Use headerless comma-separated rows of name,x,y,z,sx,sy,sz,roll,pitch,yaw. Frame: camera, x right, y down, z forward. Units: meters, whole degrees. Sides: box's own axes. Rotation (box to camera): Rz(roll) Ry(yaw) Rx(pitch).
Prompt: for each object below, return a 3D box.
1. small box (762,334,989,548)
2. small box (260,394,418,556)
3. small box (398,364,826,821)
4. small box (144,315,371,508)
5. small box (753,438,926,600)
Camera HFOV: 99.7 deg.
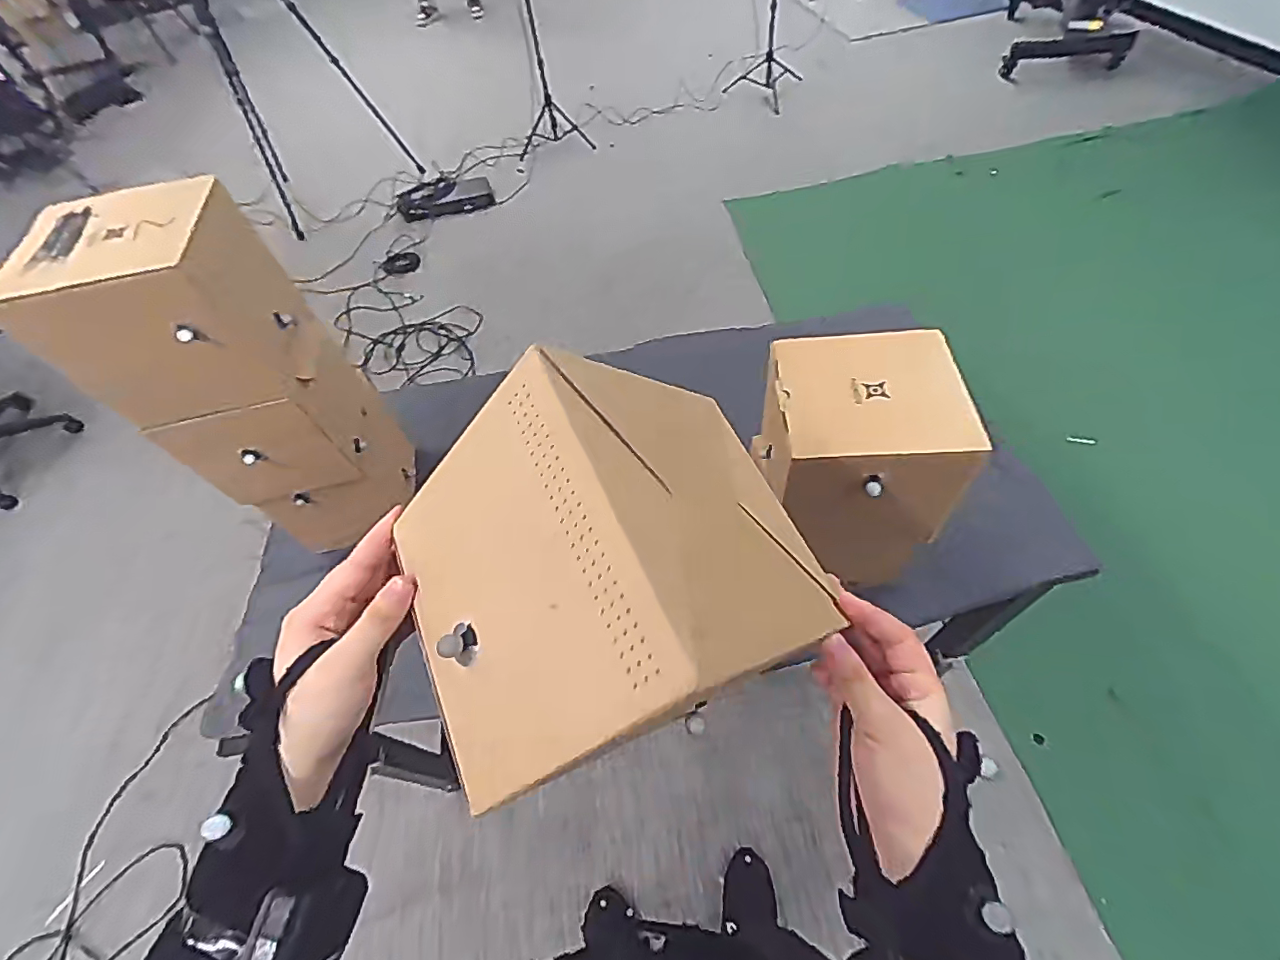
small box,0.233,-0.036,0.592,0.179,0.176,0.168,-3,54,7
small box,-0.472,-0.005,0.865,0.168,0.176,0.179,-14,55,-3
small box,-0.013,0.060,0.327,0.176,0.168,0.179,-42,63,30
small box,-0.484,-0.086,0.720,0.179,0.176,0.168,-14,56,-2
small box,0.250,0.047,0.732,0.168,0.176,0.179,-11,54,1
